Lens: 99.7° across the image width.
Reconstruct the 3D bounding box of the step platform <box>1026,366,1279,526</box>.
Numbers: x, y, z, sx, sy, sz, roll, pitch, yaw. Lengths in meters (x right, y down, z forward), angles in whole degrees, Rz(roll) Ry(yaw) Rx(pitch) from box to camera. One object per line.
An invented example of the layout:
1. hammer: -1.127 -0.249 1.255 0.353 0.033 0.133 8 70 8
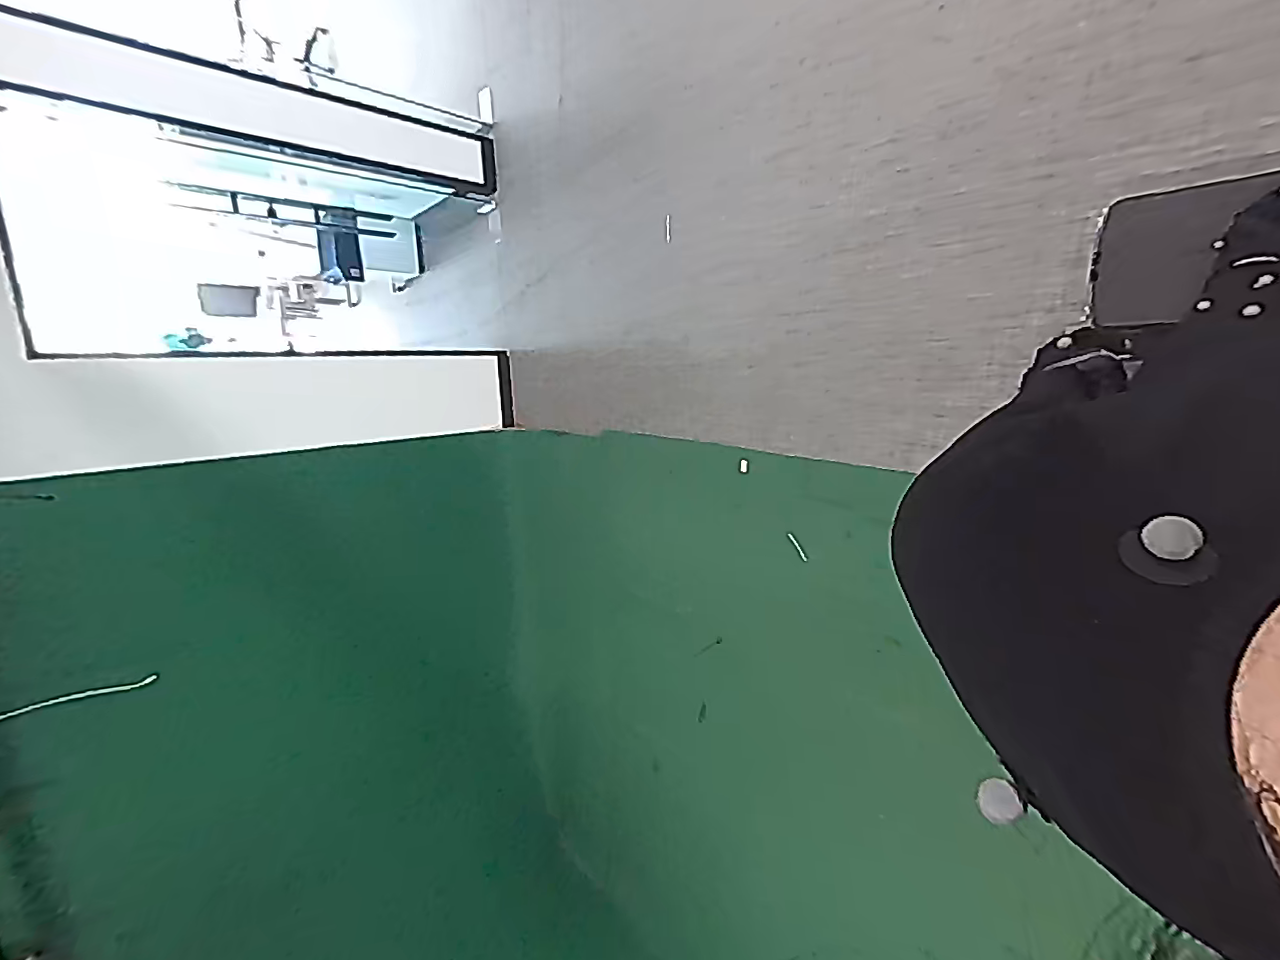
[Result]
1. step platform: 1.080 -0.048 0.903 0.684 0.204 0.286 11 107 46
